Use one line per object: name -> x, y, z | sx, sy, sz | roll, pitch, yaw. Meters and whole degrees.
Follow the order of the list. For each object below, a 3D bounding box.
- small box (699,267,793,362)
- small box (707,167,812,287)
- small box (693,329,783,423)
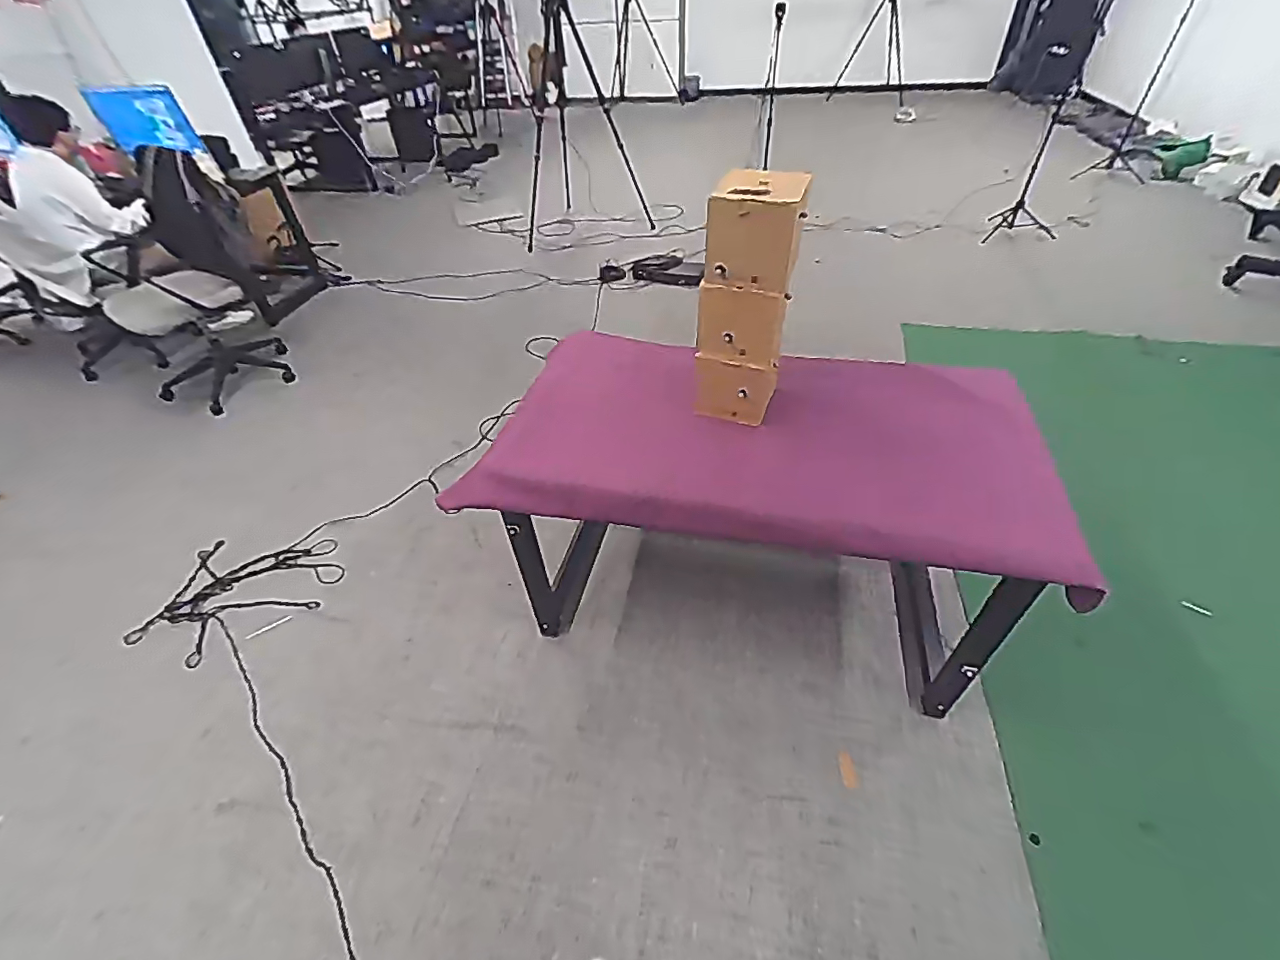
small box -> 0.229, -0.383, 1.190 | 0.168, 0.176, 0.179 | 13, 47, 15
small box -> 0.233, -0.503, 1.078 | 0.168, 0.176, 0.179 | 14, 47, 15
small box -> 0.233, -0.259, 1.295 | 0.168, 0.176, 0.179 | 15, 47, 18
